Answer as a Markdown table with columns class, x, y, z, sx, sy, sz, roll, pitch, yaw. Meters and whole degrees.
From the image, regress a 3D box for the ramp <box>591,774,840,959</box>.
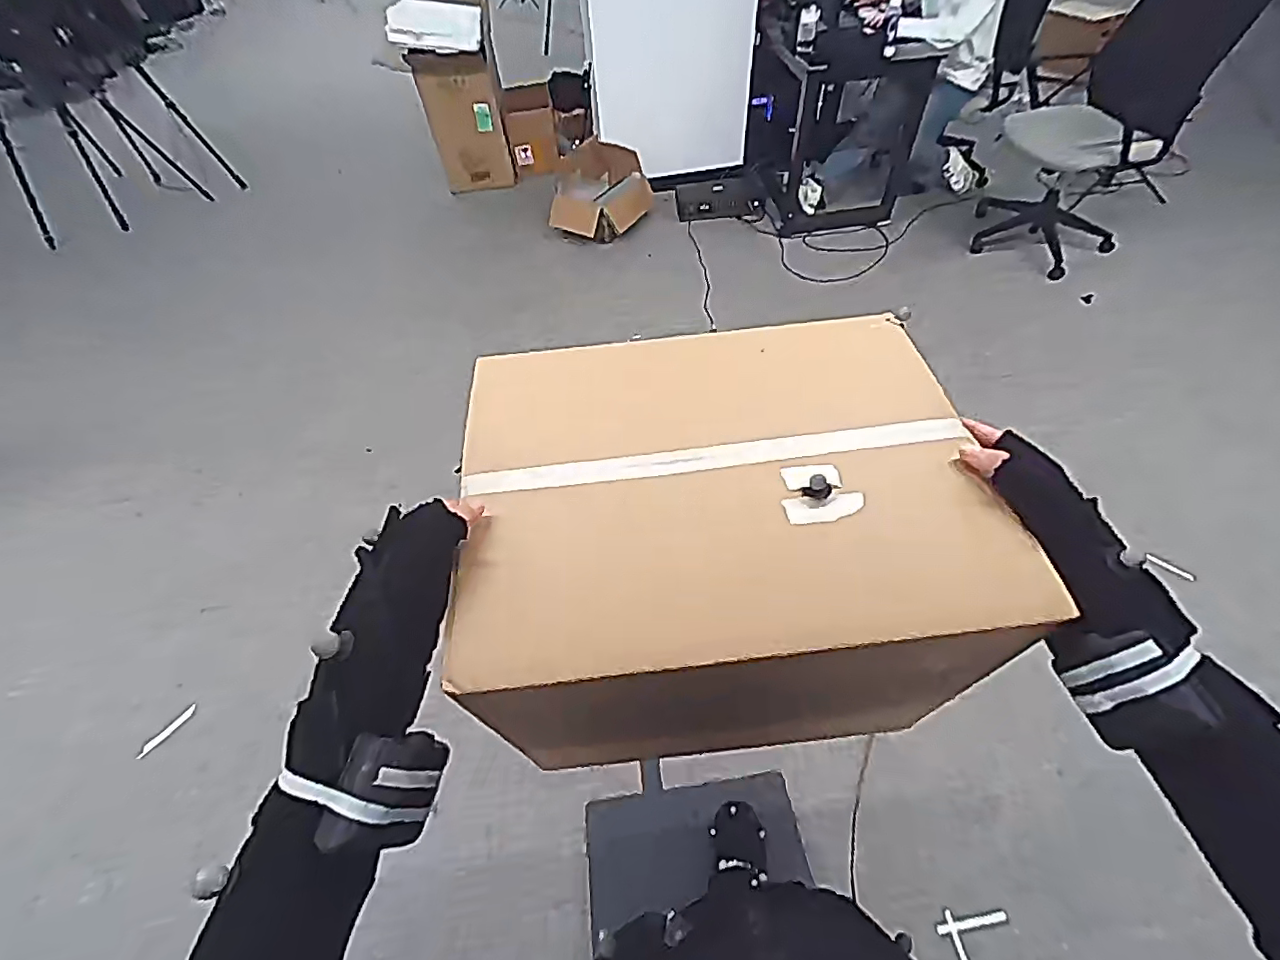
| class | x | y | z | sx | sy | sz | roll | pitch | yaw |
| --- | --- | --- | --- | --- | --- | --- | --- | --- | --- |
| ramp | 0.181 | 1.102 | 0.972 | 0.509 | 0.206 | 0.991 | -11 | 52 | -2 |

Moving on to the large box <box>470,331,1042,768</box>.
| class | x | y | z | sx | sy | sz | roll | pitch | yaw |
| --- | --- | --- | --- | --- | --- | --- | --- | --- | --- |
| large box | 0.070 | 0.082 | 0.569 | 0.408 | 0.320 | 0.320 | -7 | 53 | -2 |
